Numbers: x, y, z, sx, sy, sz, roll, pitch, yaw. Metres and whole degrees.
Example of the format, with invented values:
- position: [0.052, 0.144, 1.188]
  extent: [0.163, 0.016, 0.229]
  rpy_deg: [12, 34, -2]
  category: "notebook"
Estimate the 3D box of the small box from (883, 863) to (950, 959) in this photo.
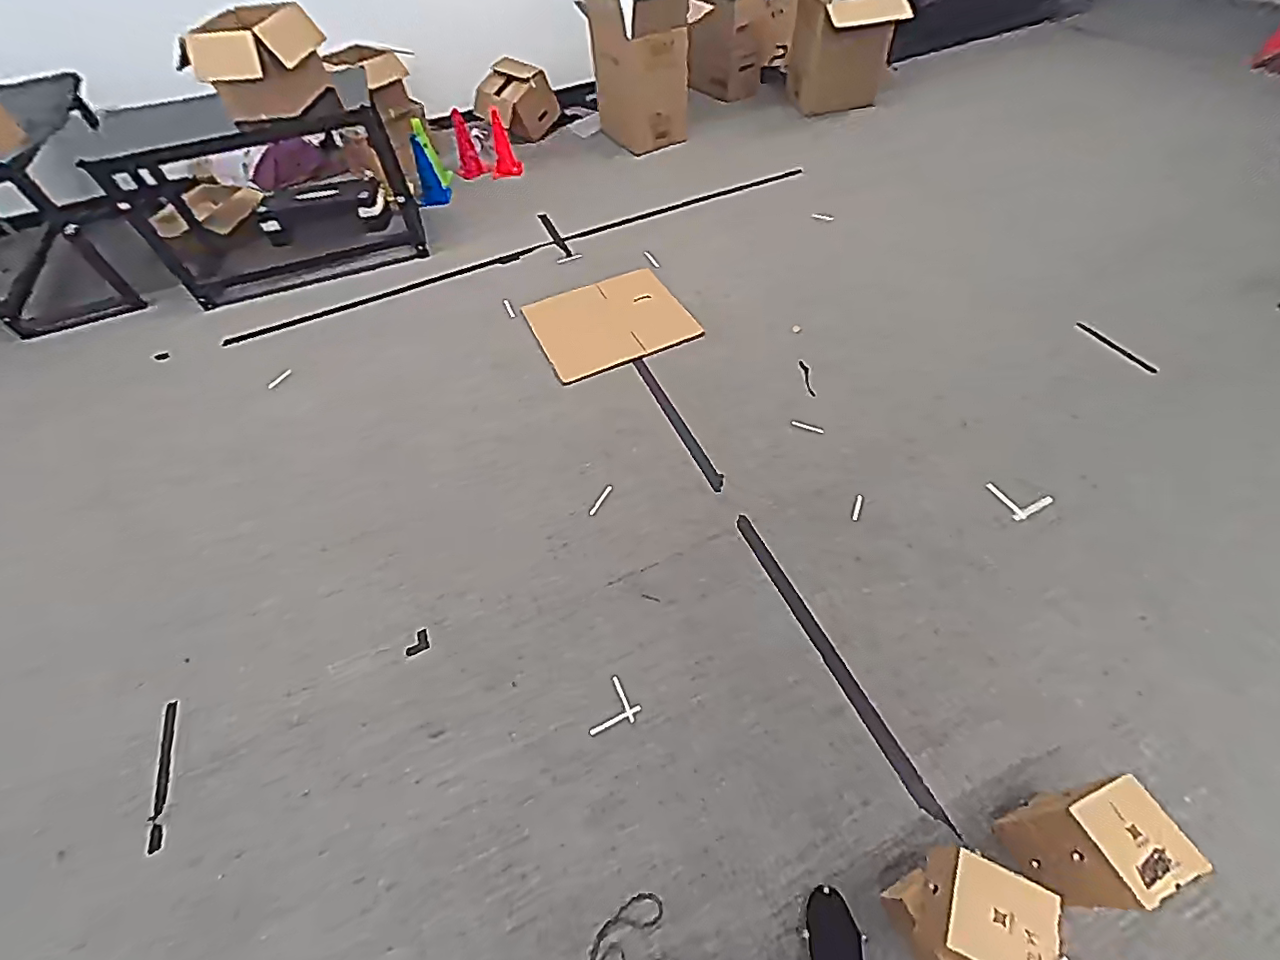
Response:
- position: [0.658, 0.947, 1.159]
  extent: [0.168, 0.176, 0.179]
  rpy_deg: [-24, 55, -13]
  category: "small box"

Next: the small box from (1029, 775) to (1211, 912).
- position: [0.951, 0.730, 1.091]
  extent: [0.168, 0.176, 0.179]
  rpy_deg: [-20, 54, -11]
  category: "small box"

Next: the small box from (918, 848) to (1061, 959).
- position: [0.658, 0.841, 1.033]
  extent: [0.179, 0.176, 0.168]
  rpy_deg: [21, 58, 18]
  category: "small box"
